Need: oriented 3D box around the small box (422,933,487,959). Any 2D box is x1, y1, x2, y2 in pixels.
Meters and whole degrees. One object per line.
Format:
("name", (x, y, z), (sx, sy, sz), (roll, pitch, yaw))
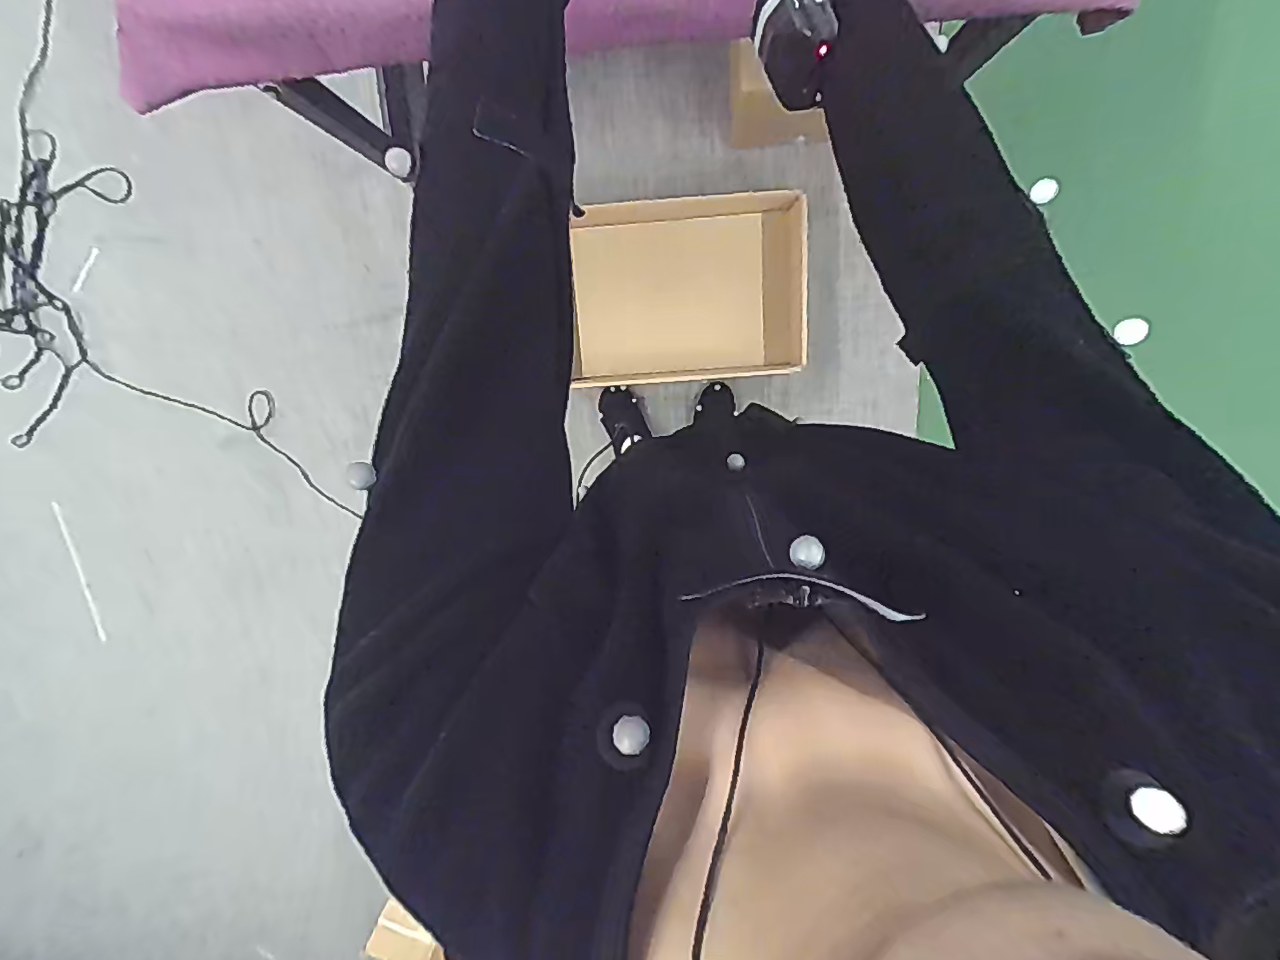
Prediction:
("small box", (-0.540, 1.402, 1.470), (0.168, 0.176, 0.179), (31, 104, -4))
